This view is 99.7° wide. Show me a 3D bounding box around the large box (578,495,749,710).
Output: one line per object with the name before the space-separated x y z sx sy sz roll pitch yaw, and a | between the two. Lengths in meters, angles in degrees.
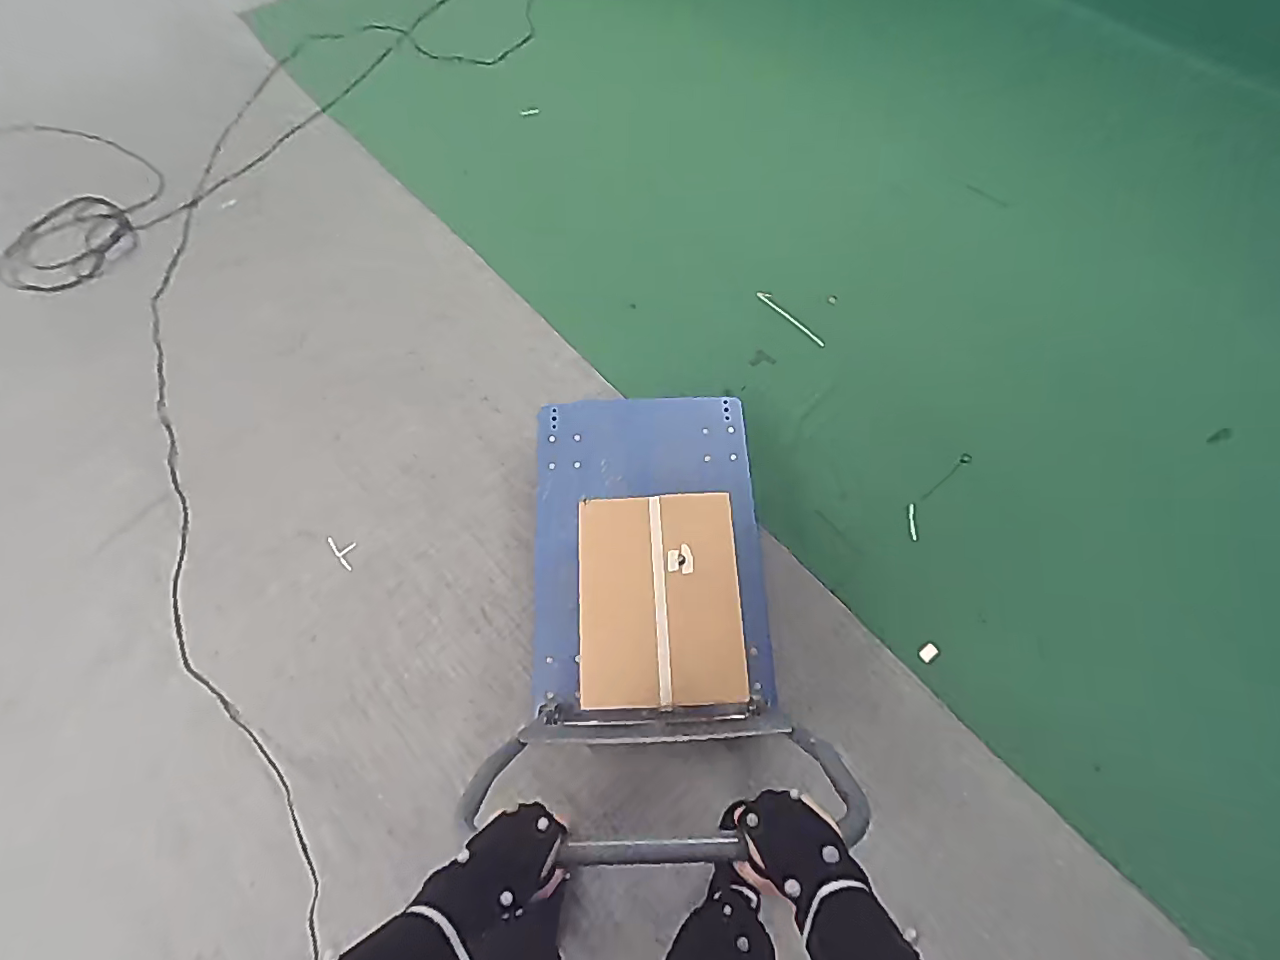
large box | 0.042 0.277 1.196 0.320 0.320 0.408 -3 70 0
